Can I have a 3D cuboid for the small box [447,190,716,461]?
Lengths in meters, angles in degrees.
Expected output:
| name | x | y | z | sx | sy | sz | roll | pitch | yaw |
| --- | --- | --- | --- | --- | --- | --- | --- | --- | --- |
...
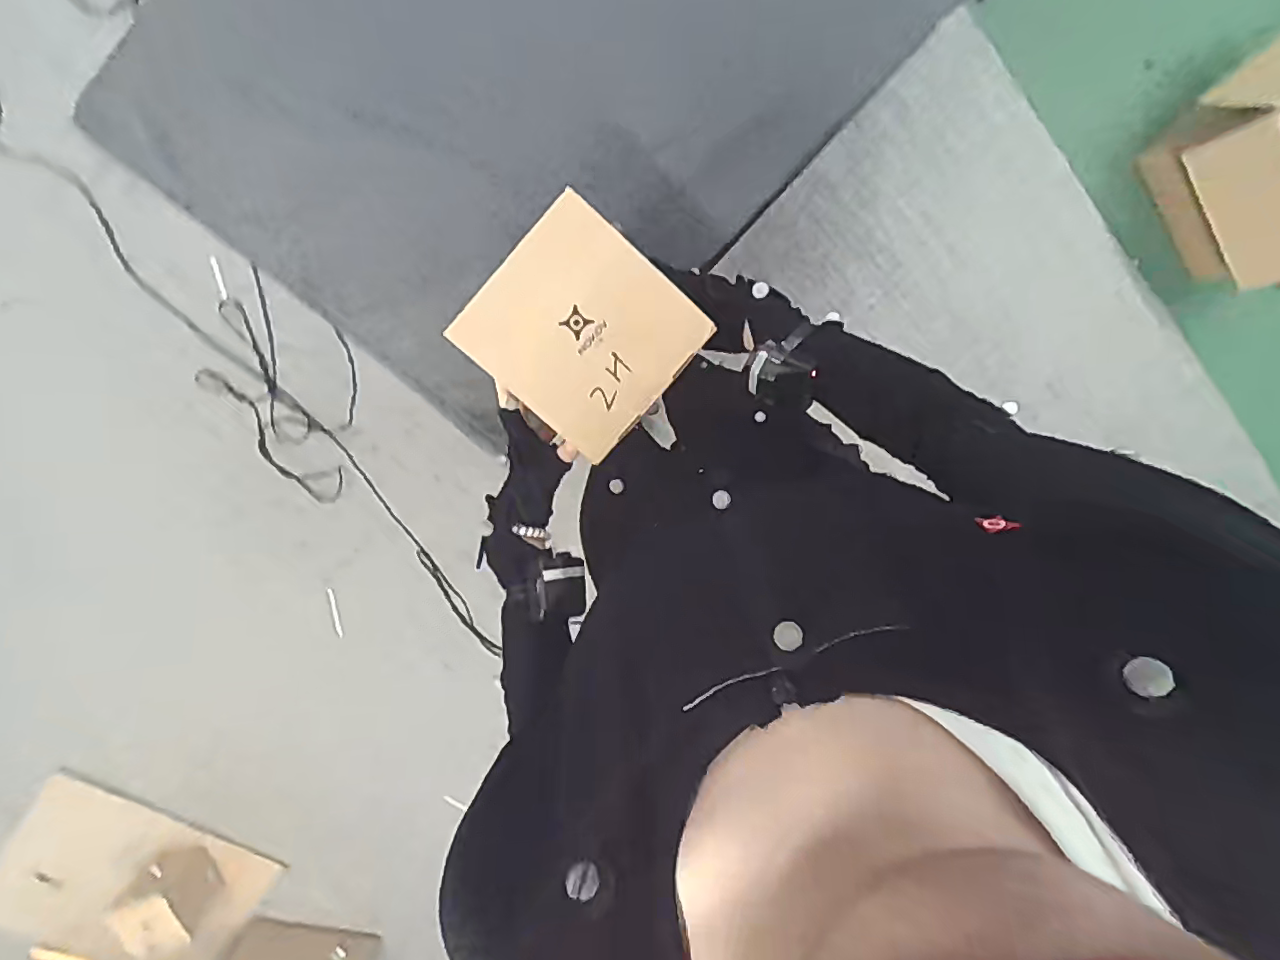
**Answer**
| name | x | y | z | sx | sy | sz | roll | pitch | yaw |
| --- | --- | --- | --- | --- | --- | --- | --- | --- | --- |
| small box | -0.055 | -0.137 | 0.545 | 0.179 | 0.176 | 0.168 | 42 | 92 | -8 |
